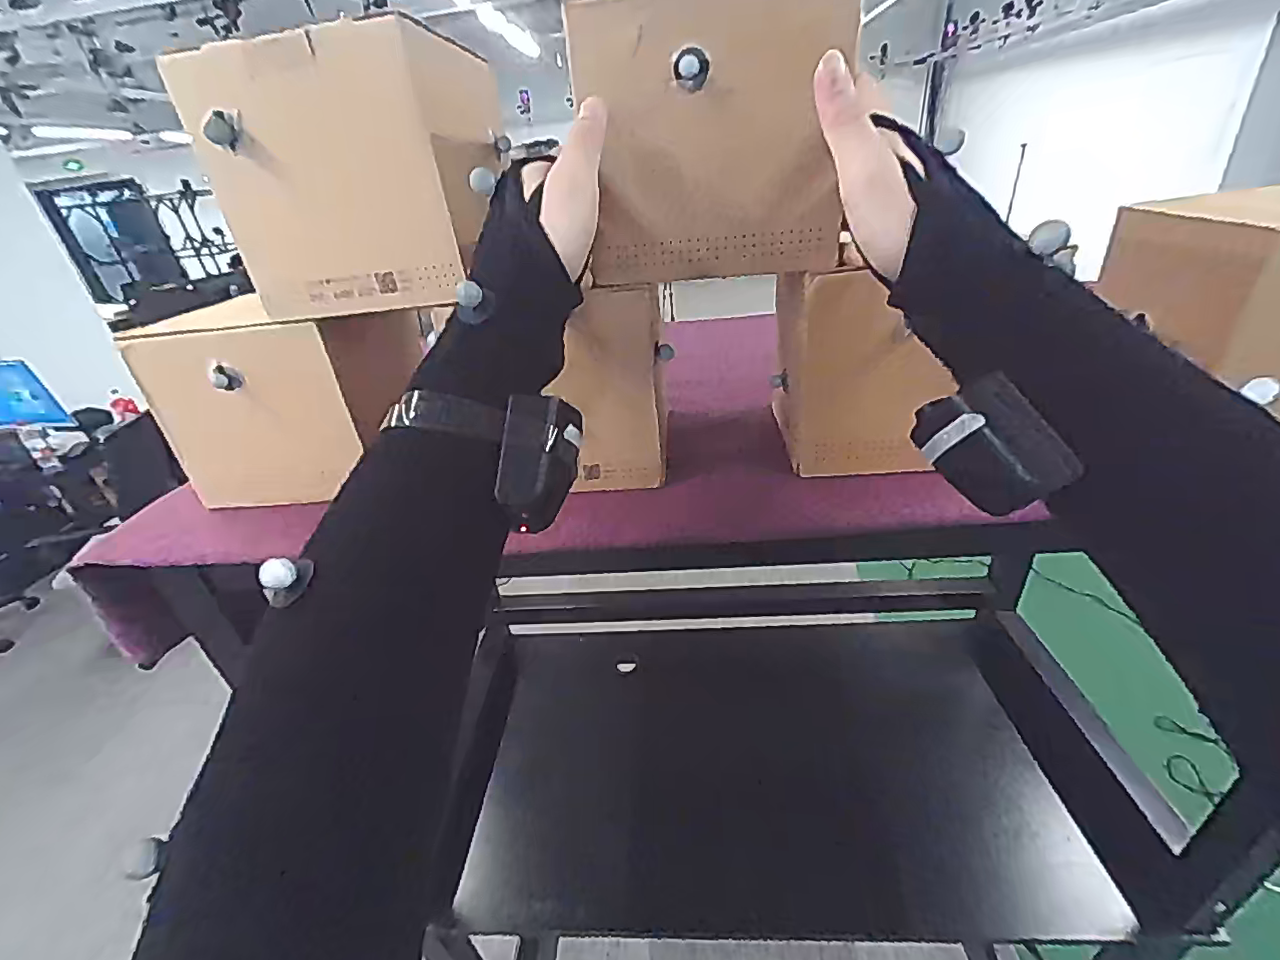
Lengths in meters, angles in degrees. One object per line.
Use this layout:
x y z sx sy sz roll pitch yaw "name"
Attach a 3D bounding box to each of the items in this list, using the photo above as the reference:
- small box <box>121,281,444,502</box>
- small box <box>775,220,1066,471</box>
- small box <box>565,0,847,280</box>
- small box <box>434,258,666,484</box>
-0.322 -0.088 0.533 0.179 0.176 0.168 -3 30 5 "small box"
0.218 -0.121 0.480 0.179 0.176 0.168 -5 29 8 "small box"
0.053 -0.260 0.427 0.179 0.176 0.168 -2 29 6 "small box"
-0.063 -0.104 0.509 0.168 0.176 0.179 -3 30 5 "small box"
